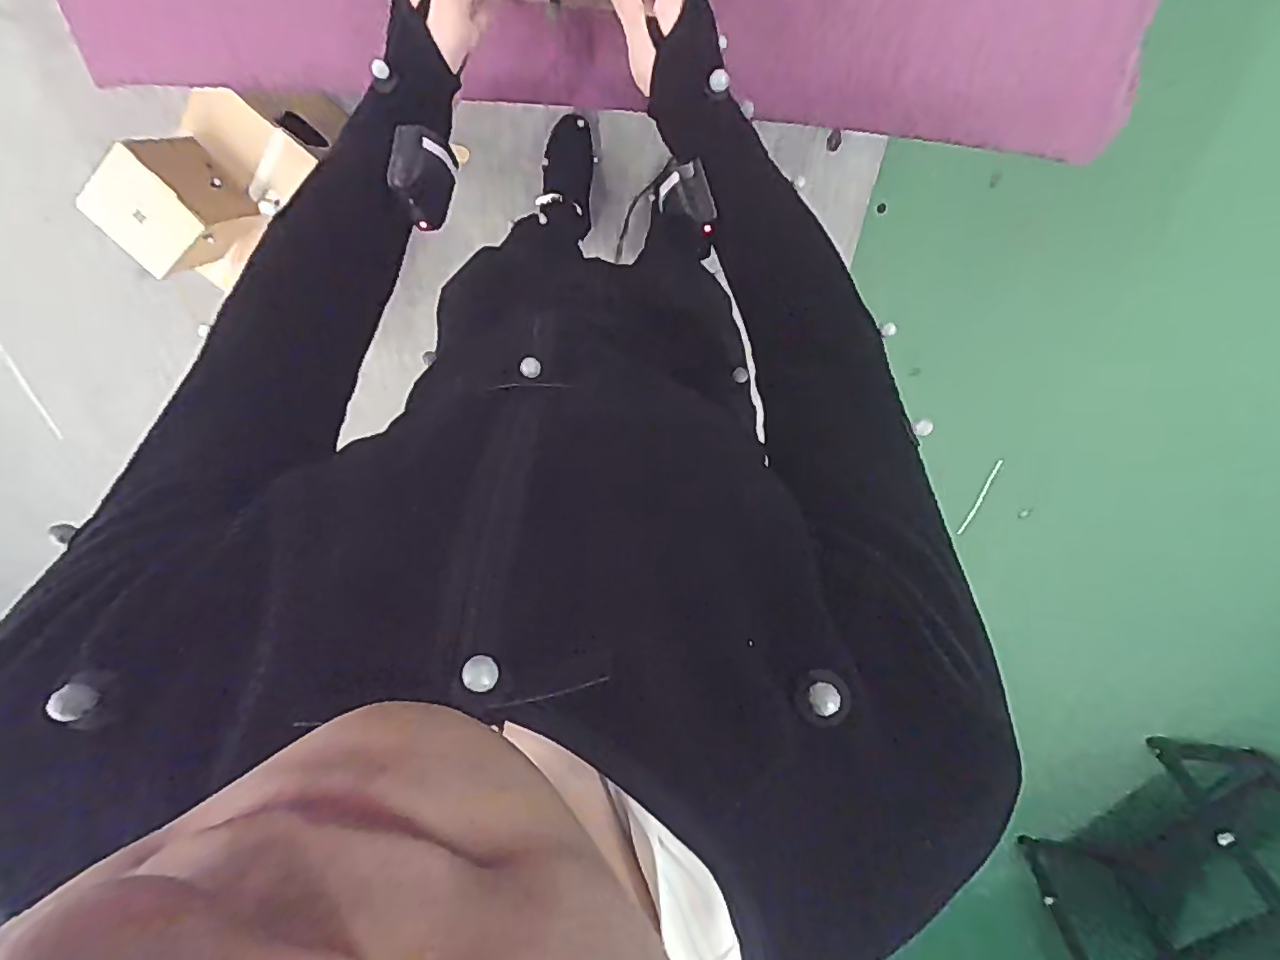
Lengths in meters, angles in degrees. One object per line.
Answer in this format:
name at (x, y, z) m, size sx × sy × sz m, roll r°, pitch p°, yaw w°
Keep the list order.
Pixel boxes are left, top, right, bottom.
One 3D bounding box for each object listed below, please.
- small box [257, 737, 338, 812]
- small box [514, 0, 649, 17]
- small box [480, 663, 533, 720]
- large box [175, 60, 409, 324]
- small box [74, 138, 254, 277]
small box at (-1.269, 1.095, 2.015) m, size 0.179 × 0.176 × 0.168 m, roll -39°, pitch 114°, yaw 24°
small box at (-0.067, -0.540, 0.473) m, size 0.168 × 0.176 × 0.179 m, roll 7°, pitch 125°, yaw 0°
small box at (-0.581, 0.924, 2.370) m, size 0.179 × 0.176 × 0.168 m, roll 2°, pitch 125°, yaw 2°
large box at (-0.819, -0.652, 1.254) m, size 0.320 × 0.320 × 0.408 m, roll 38°, pitch 118°, yaw -22°
small box at (-0.906, -0.528, 1.048) m, size 0.179 × 0.176 × 0.168 m, roll -29°, pitch 117°, yaw 21°
